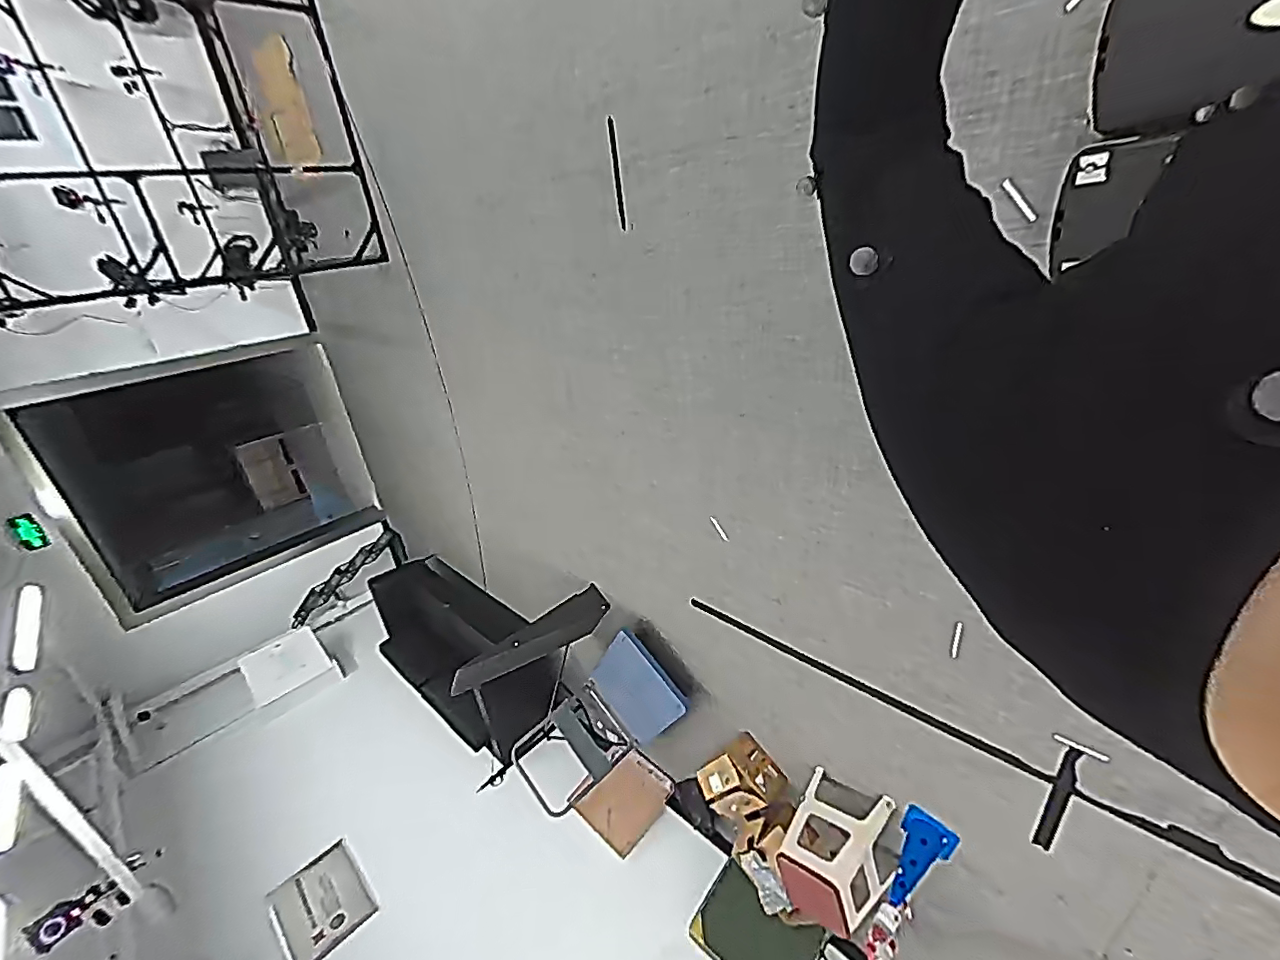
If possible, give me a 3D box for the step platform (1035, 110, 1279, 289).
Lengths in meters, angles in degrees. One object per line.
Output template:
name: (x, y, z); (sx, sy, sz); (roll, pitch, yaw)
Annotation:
step platform: (1.146, -0.510, 0.984); (0.684, 0.204, 0.286); (17, 124, 44)
